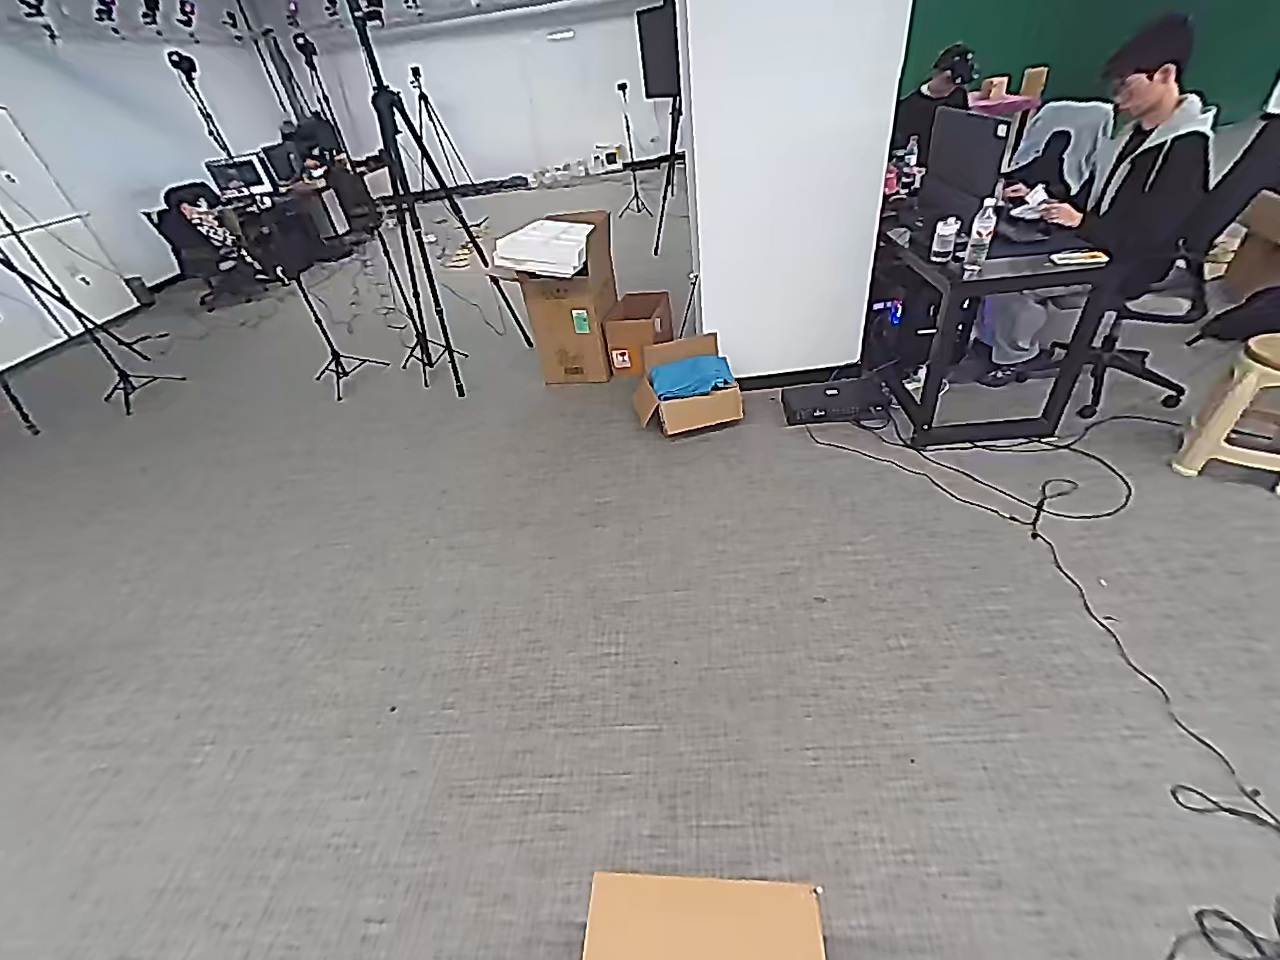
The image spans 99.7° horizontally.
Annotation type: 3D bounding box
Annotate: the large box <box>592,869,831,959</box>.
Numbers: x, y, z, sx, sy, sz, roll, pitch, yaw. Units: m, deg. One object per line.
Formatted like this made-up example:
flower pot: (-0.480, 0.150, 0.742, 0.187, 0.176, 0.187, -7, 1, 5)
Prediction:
large box: (0.128, 0.935, 0.962, 0.408, 0.320, 0.320, -2, 38, 8)
